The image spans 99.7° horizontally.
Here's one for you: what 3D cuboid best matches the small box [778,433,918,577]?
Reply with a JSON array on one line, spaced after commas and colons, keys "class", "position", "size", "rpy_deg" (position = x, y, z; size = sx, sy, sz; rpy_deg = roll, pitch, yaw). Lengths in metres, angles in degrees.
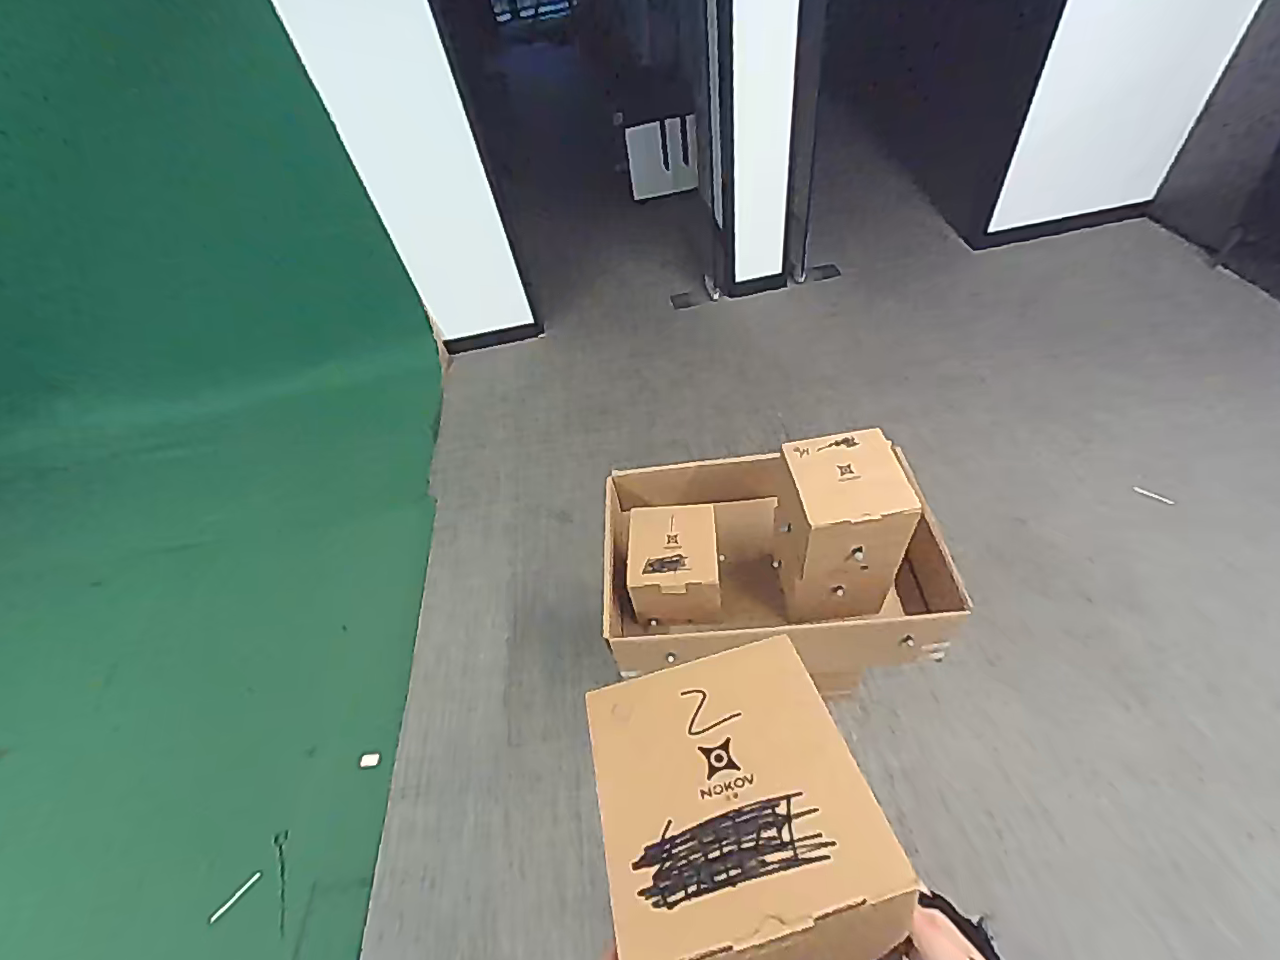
[{"class": "small box", "position": [0.334, 0.050, 0.907], "size": [0.168, 0.176, 0.179], "rpy_deg": [-8, 50, 3]}]
